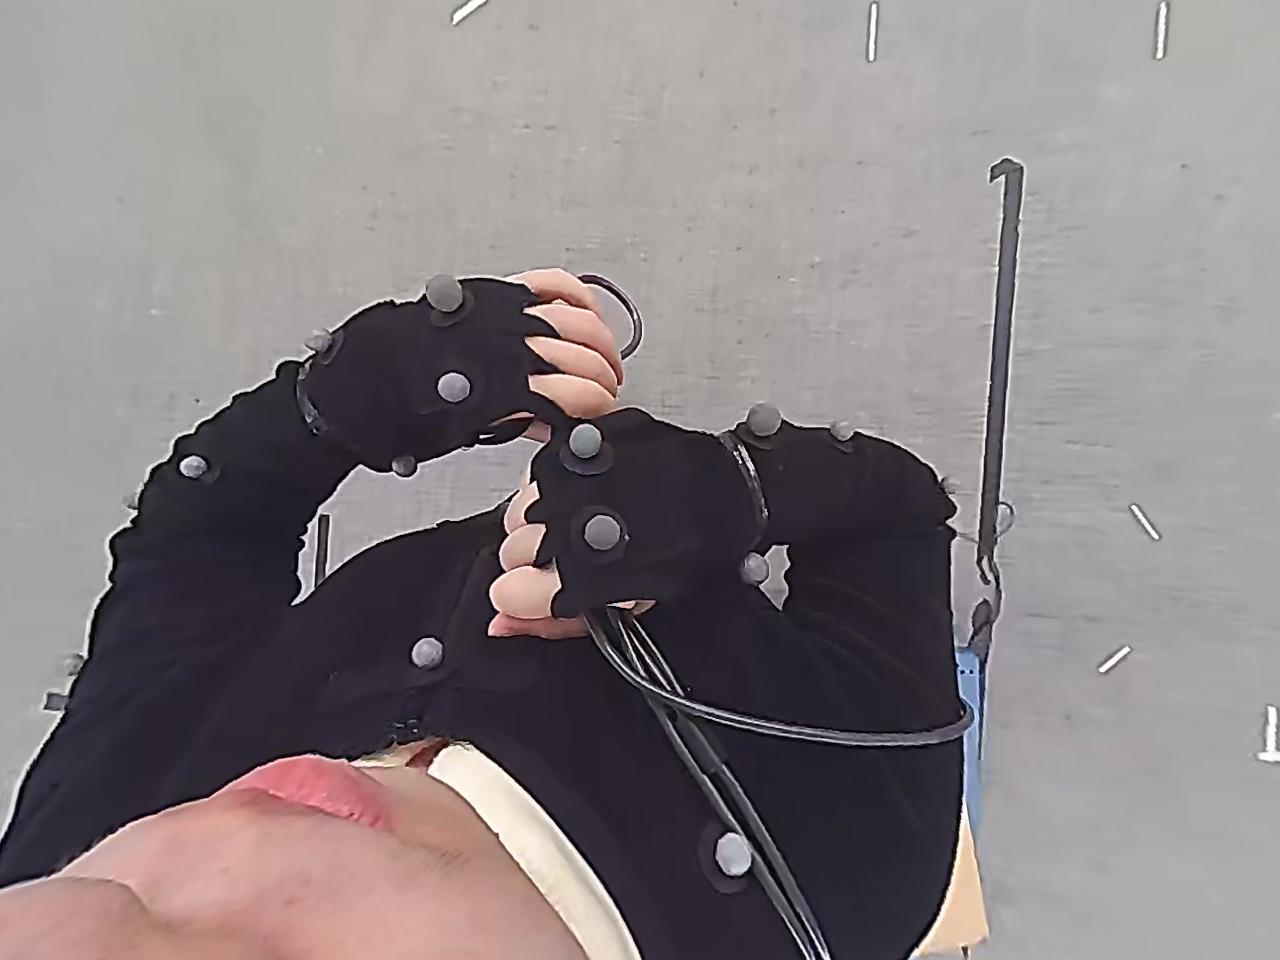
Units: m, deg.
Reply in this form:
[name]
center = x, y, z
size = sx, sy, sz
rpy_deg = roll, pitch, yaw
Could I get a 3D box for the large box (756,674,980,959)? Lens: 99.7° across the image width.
[large box]
center = 0.473, 0.705, 1.192
size = 0.320, 0.320, 0.408
rpy_deg = -11, 92, 0
